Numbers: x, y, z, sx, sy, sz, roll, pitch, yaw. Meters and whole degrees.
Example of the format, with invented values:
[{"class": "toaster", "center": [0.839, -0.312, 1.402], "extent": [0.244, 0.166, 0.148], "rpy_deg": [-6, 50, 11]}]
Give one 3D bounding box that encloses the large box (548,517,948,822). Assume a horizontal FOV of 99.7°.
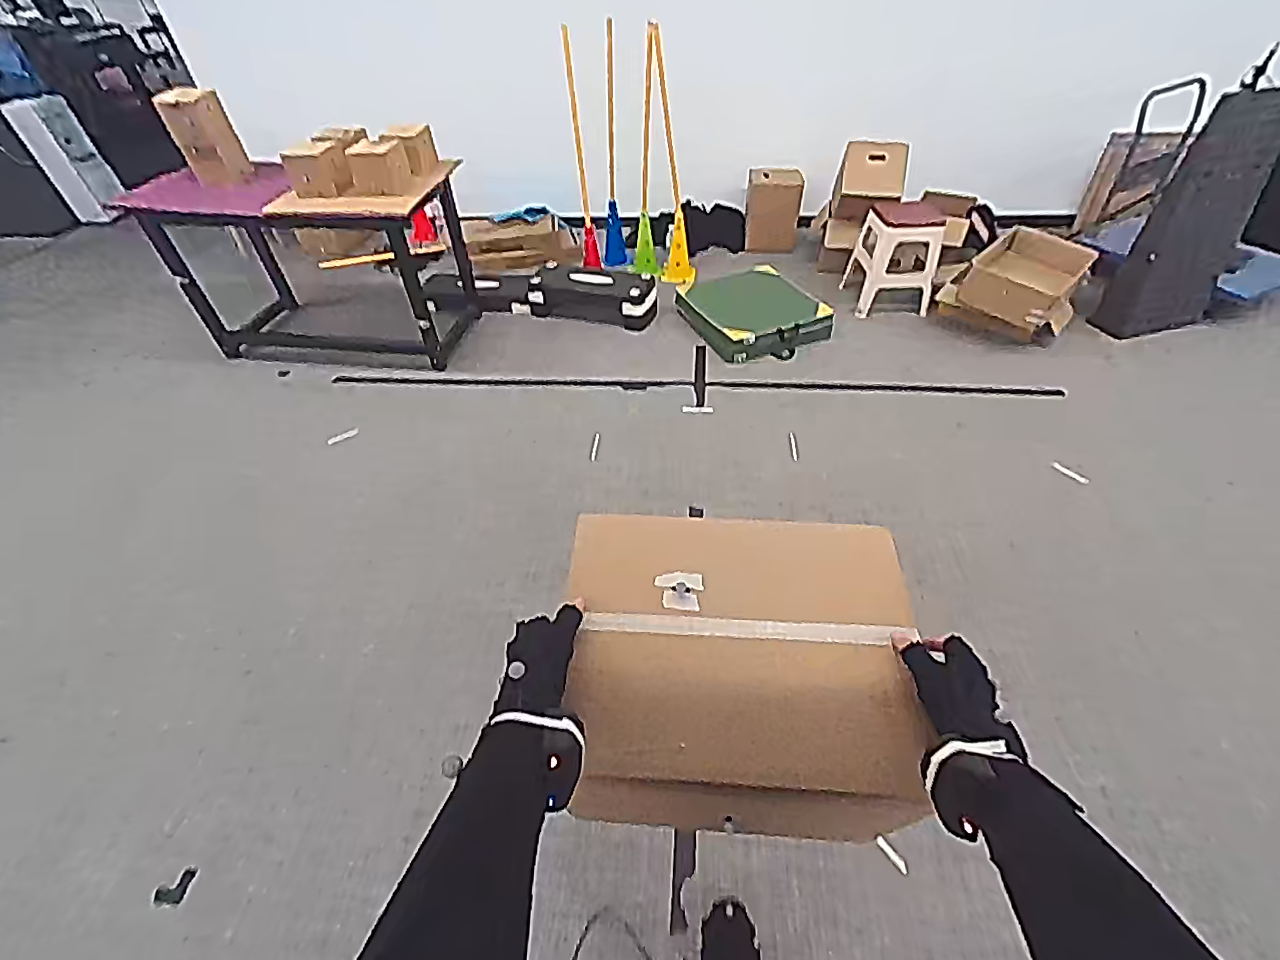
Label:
[{"class": "large box", "center": [0.118, 0.265, 0.743], "extent": [0.408, 0.320, 0.320], "rpy_deg": [2, 50, 4]}]
